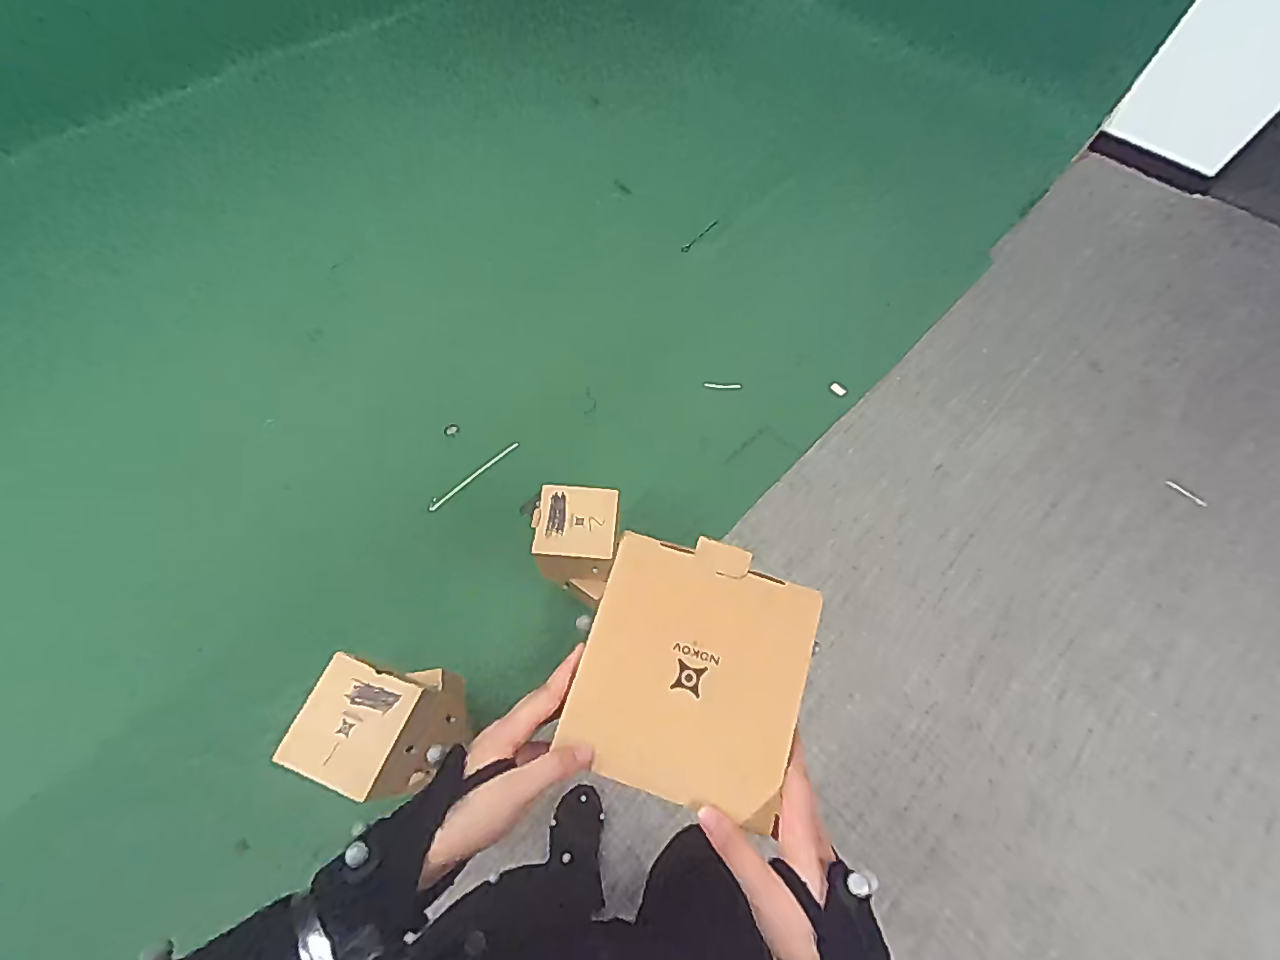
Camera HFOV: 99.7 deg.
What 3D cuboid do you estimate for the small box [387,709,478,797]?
[{"bbox_3d":[-0.479,0.568,1.200,0.168,0.176,0.179,-26,66,-14],"label":"small box"}]

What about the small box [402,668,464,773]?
[{"bbox_3d":[-0.450,0.480,1.063,0.168,0.176,0.179,-7,63,-6],"label":"small box"}]

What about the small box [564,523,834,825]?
[{"bbox_3d":[0.050,0.160,0.478,0.168,0.176,0.179,17,73,6],"label":"small box"}]

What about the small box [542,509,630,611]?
[{"bbox_3d":[-0.124,0.212,1.385,0.179,0.176,0.168,33,67,15],"label":"small box"}]

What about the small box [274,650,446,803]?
[{"bbox_3d":[-0.452,0.412,0.914,0.168,0.176,0.179,20,66,8],"label":"small box"}]
